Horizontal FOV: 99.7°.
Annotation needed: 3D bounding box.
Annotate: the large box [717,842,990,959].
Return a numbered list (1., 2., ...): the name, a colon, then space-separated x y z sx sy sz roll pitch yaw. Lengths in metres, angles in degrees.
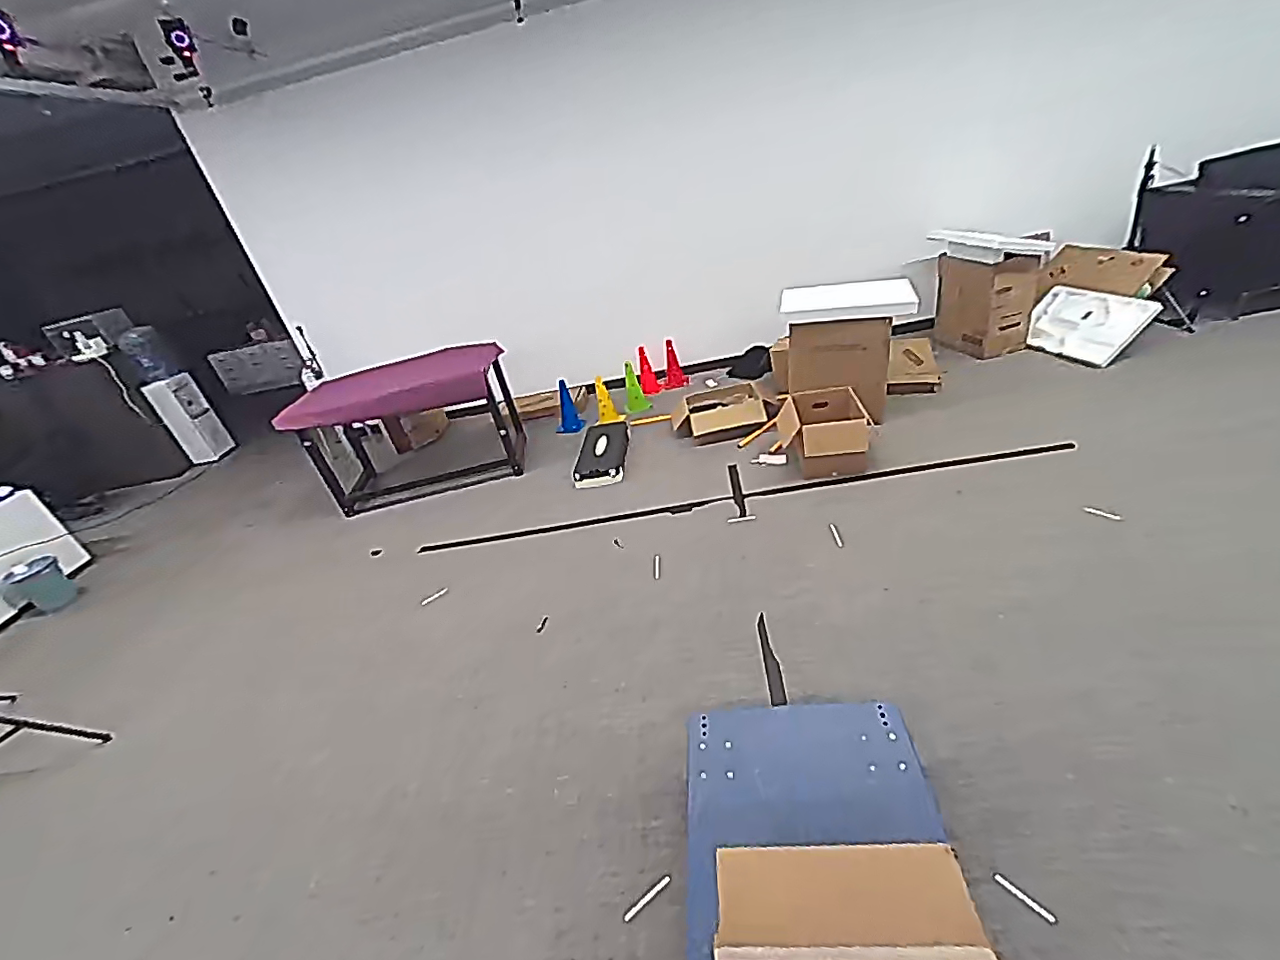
1. large box: 0.354 0.862 0.912 0.408 0.320 0.320 -7 31 9
